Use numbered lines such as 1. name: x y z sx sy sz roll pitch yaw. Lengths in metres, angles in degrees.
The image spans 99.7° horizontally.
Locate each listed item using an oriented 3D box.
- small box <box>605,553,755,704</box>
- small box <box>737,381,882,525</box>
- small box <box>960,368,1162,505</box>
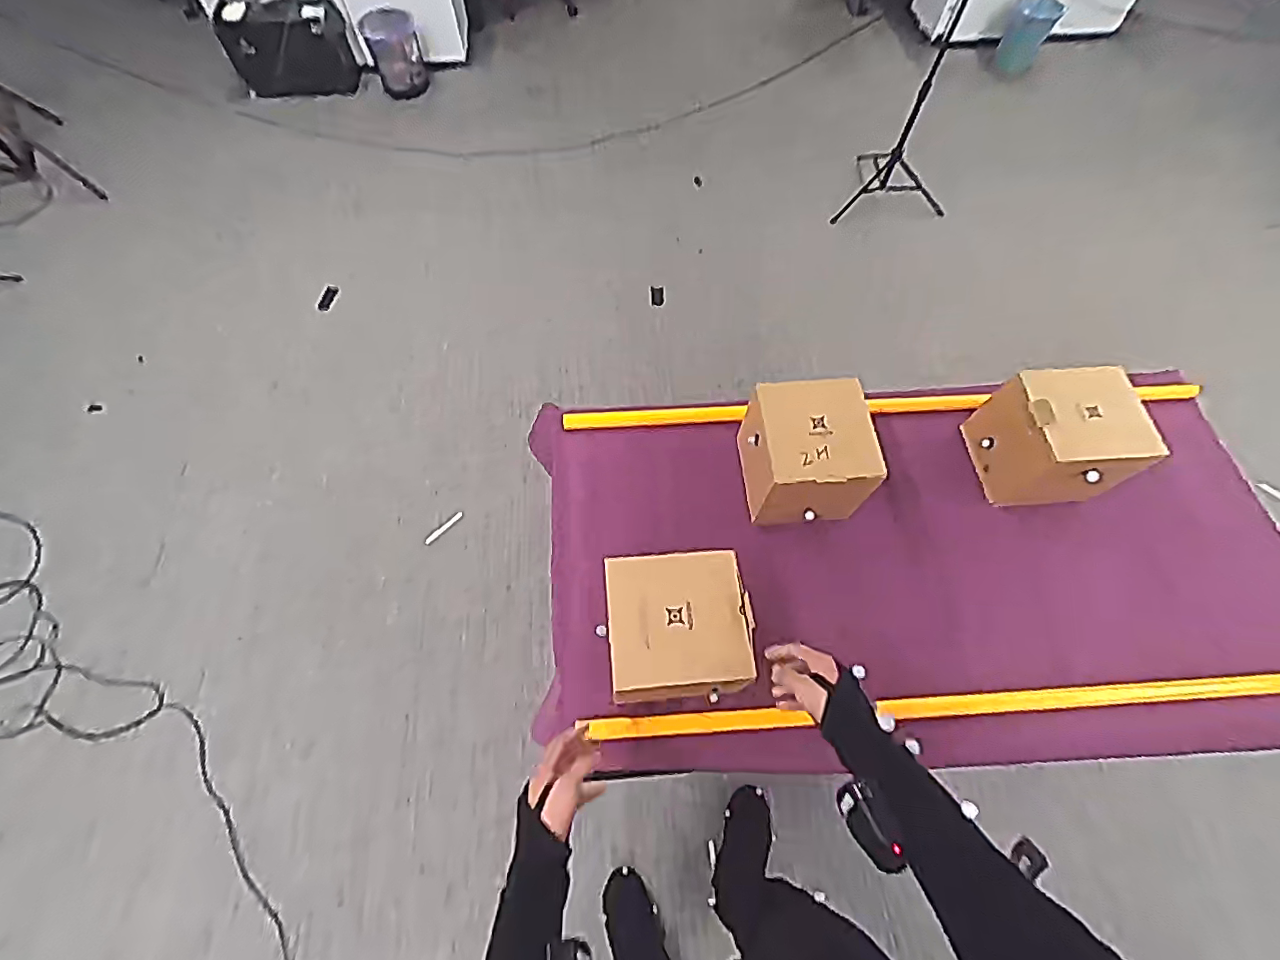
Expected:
1. small box: 0.042 0.209 0.750 0.179 0.176 0.168 -4 62 -5
2. small box: 0.261 -0.040 0.883 0.168 0.176 0.179 -4 64 -2
3. small box: 0.683 -0.067 0.902 0.179 0.176 0.168 -4 64 -2
